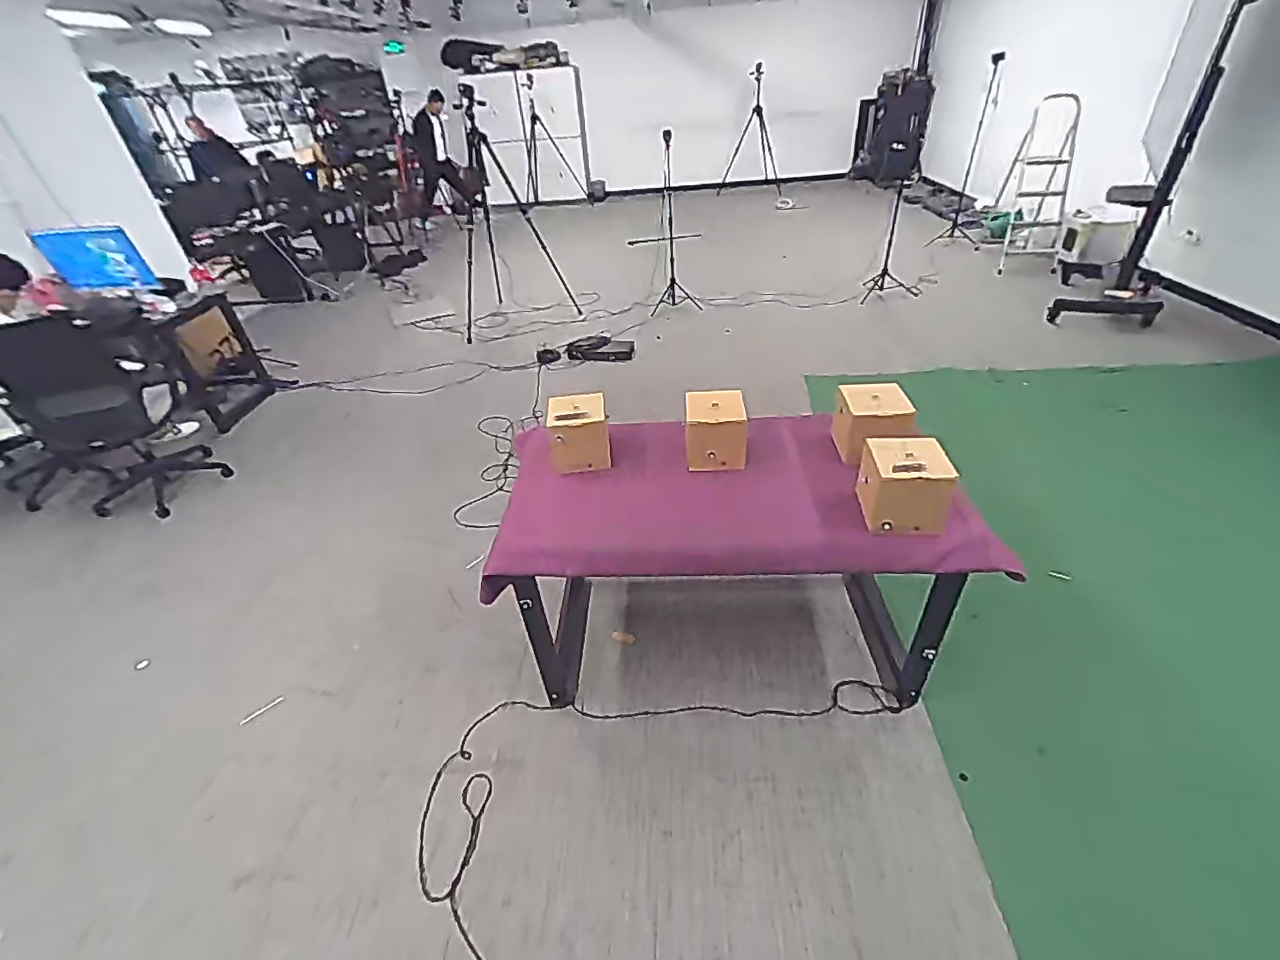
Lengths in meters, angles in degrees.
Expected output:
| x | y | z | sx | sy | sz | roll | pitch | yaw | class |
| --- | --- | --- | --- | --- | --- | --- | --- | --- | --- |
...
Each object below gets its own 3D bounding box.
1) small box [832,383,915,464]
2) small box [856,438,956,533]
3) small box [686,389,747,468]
| x | y | z | sx | sy | sz | roll | pitch | yaw | class |
| --- | --- | --- | --- | --- | --- | --- | --- | --- | --- |
| 0.656 | -0.162 | 1.543 | 0.168 | 0.176 | 0.179 | -2 | 38 | 6 | small box |
| 0.634 | 0.014 | 1.312 | 0.168 | 0.176 | 0.179 | 1 | 35 | 8 | small box |
| 0.217 | -0.151 | 1.582 | 0.168 | 0.176 | 0.179 | -1 | 38 | 4 | small box |
